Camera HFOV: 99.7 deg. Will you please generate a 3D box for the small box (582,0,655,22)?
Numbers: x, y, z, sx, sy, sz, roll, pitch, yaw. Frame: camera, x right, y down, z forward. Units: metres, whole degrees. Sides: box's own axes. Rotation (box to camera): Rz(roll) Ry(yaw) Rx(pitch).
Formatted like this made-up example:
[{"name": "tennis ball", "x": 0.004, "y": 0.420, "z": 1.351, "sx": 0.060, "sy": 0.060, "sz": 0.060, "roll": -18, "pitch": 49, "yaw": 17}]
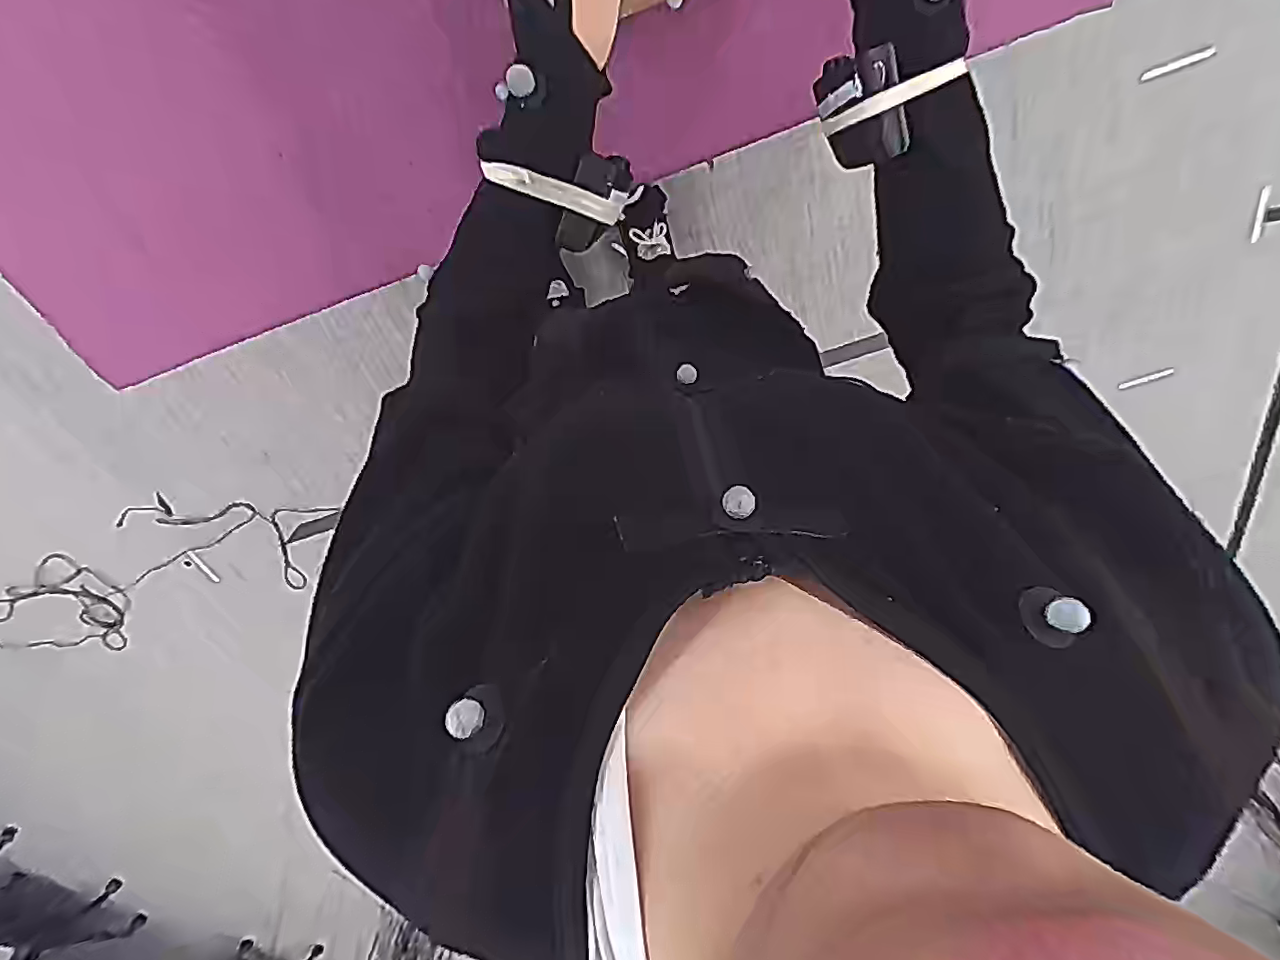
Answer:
[{"name": "small box", "x": 0.004, "y": -0.500, "z": 0.411, "sx": 0.168, "sy": 0.176, "sz": 0.179, "roll": -18, "pitch": 120, "yaw": 7}]
